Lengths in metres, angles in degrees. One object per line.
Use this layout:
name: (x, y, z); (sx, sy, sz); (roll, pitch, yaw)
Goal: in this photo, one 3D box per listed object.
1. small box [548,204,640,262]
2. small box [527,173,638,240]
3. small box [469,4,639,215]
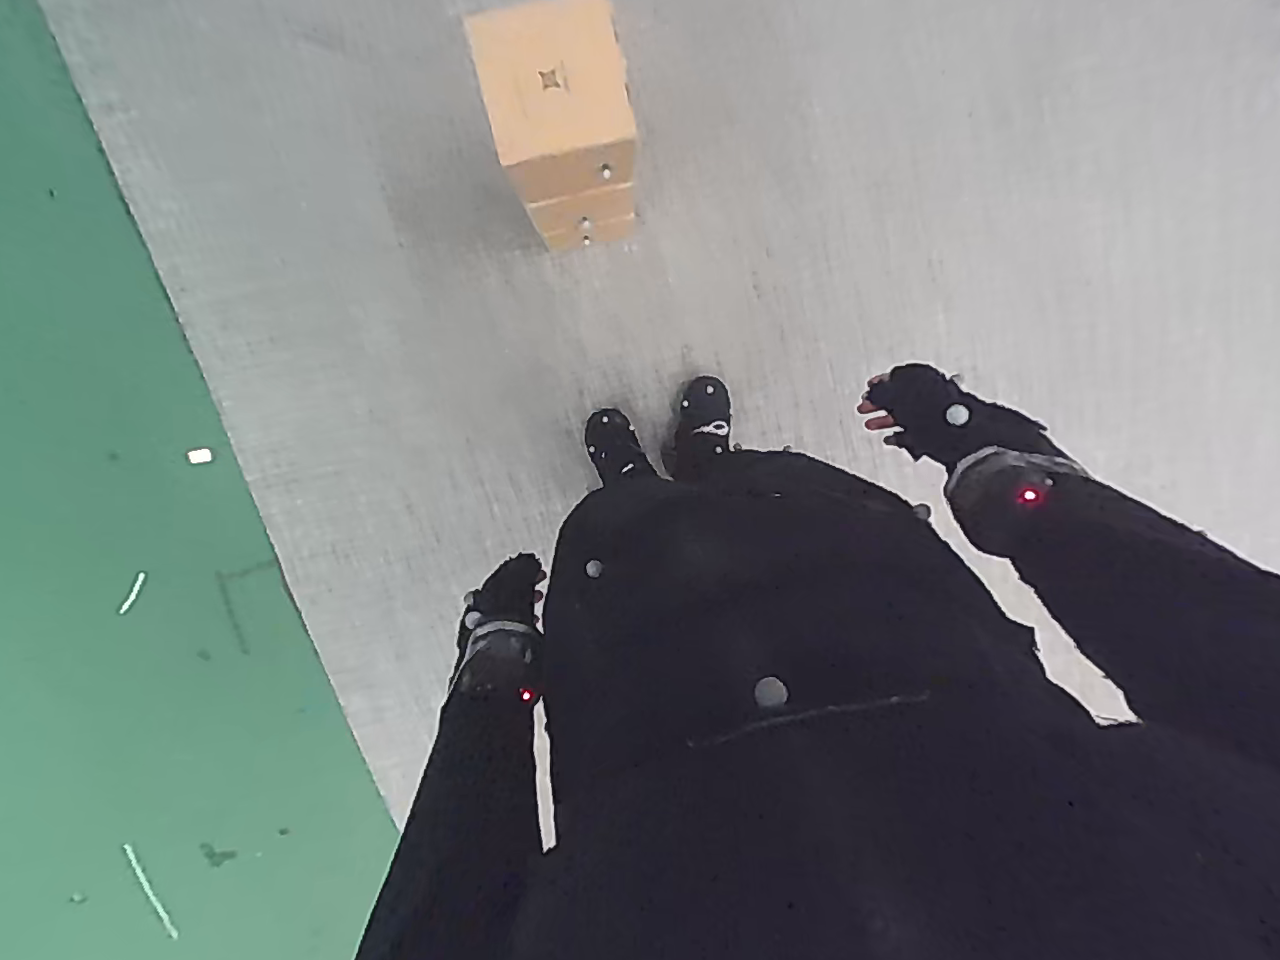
small box: (-0.108, -0.542, 1.056); (0.179, 0.176, 0.168); (-15, 102, 0)
small box: (-0.108, -0.513, 0.895); (0.179, 0.176, 0.168); (-12, 102, 0)
small box: (-0.106, -0.484, 0.735); (0.179, 0.176, 0.168); (-14, 101, 2)
